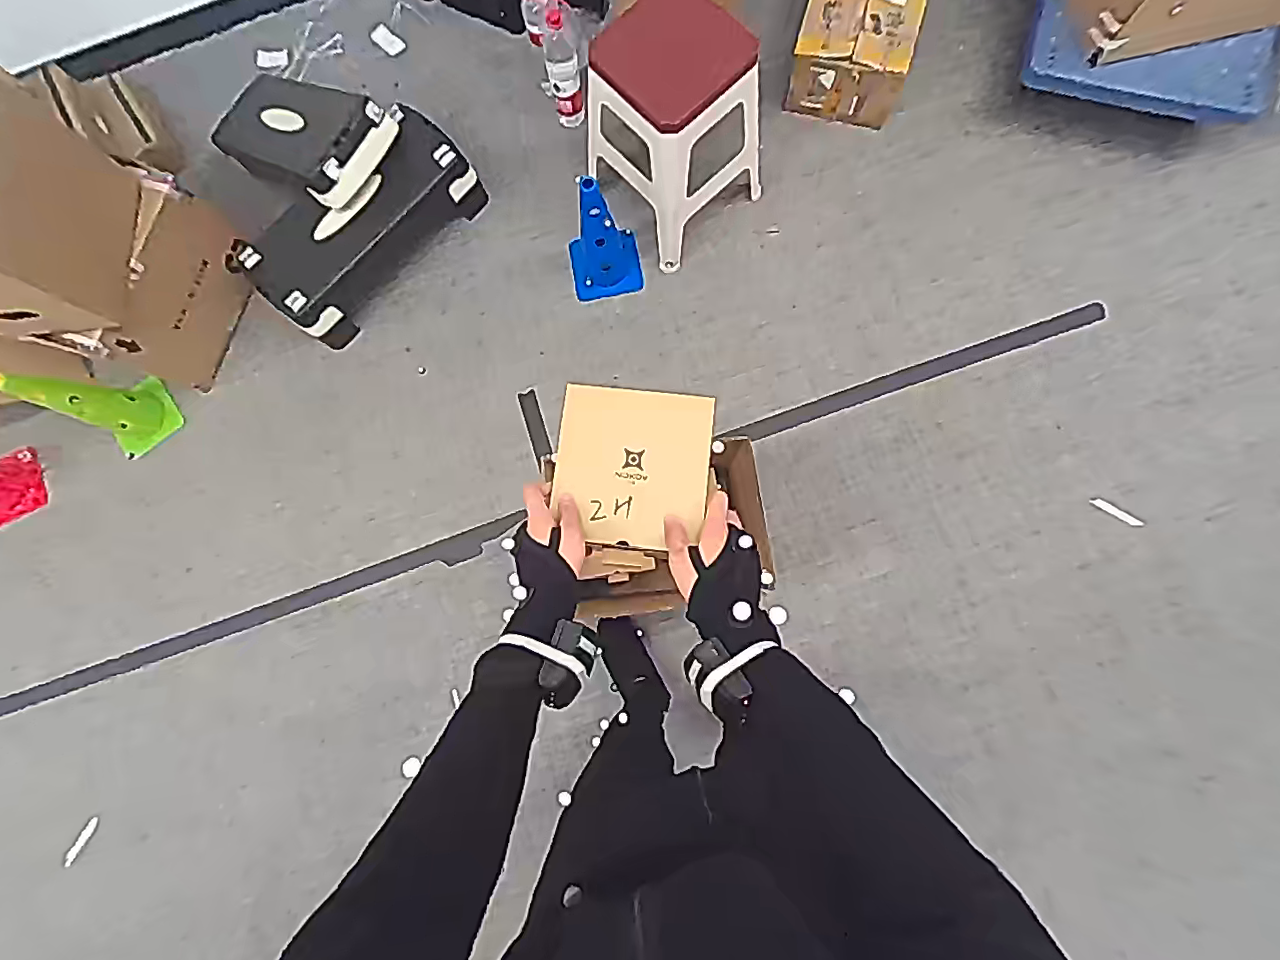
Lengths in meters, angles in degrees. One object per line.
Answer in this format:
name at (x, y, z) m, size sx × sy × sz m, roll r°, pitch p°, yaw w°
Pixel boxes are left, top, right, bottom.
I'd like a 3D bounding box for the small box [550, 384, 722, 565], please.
small box at (0.000, 0.003, 0.648) m, size 0.168 × 0.176 × 0.179 m, roll 6°, pitch 80°, yaw 4°
